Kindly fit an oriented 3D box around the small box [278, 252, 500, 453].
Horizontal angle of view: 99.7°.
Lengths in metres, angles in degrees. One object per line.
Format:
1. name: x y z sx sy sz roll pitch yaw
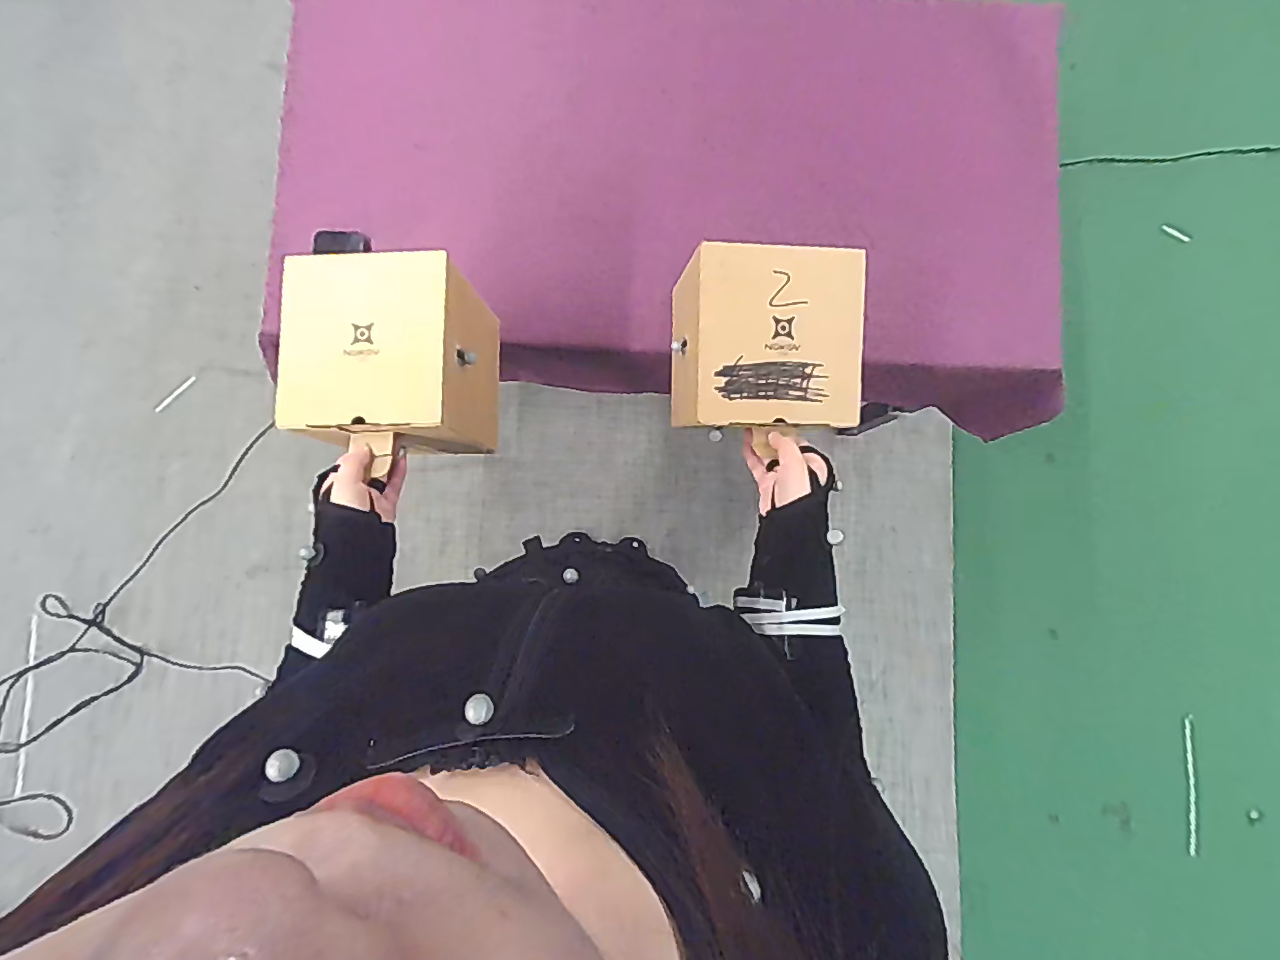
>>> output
1. small box: -0.260 -0.129 0.601 0.168 0.176 0.179 0 85 2
